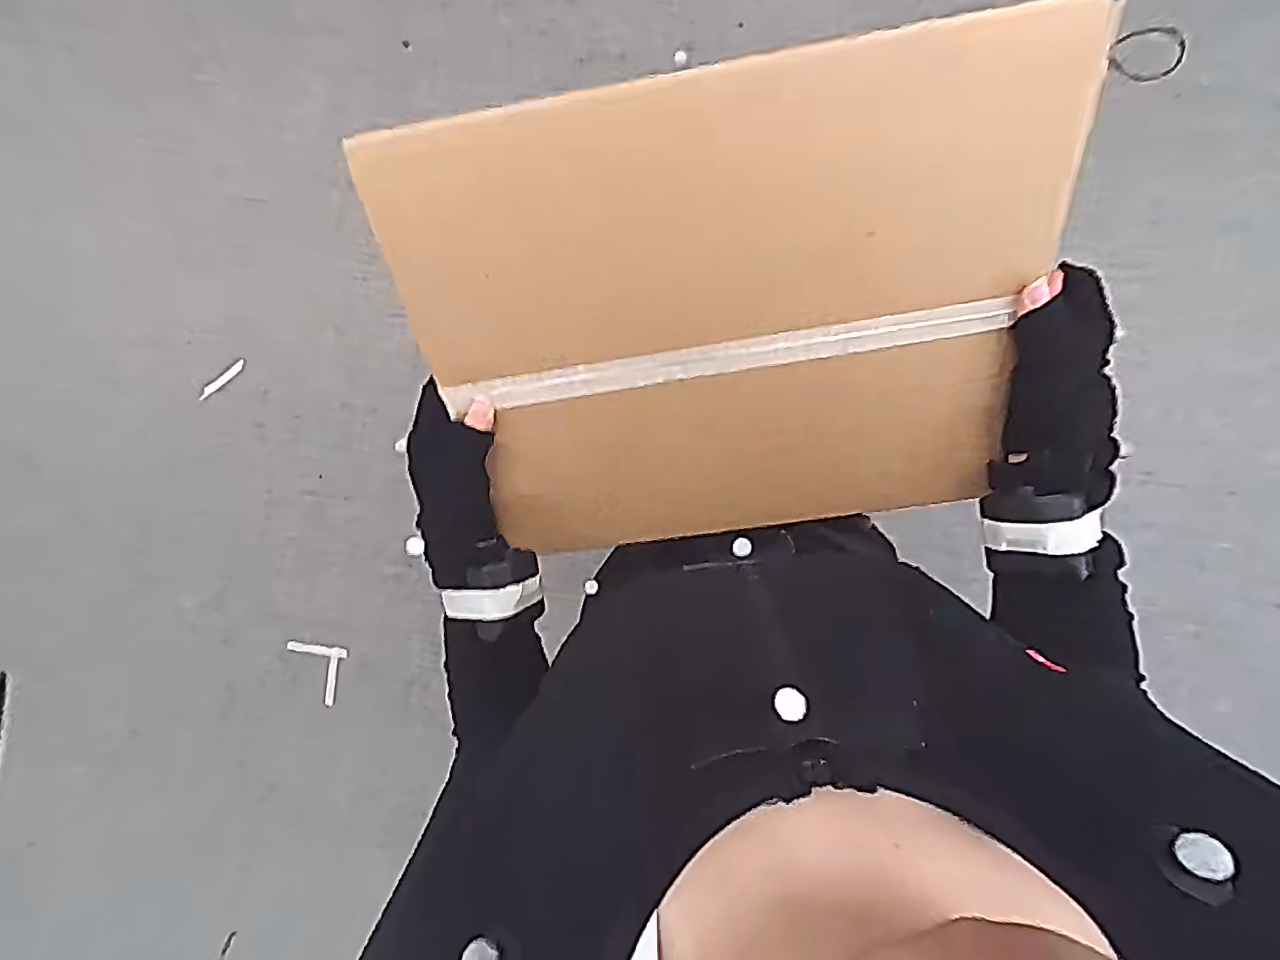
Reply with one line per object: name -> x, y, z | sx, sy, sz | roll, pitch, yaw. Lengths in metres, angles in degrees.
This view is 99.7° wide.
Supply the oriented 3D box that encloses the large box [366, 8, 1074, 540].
large box -> 0.056, -0.182, 0.503 | 0.408, 0.320, 0.320 | -8, 125, 5
